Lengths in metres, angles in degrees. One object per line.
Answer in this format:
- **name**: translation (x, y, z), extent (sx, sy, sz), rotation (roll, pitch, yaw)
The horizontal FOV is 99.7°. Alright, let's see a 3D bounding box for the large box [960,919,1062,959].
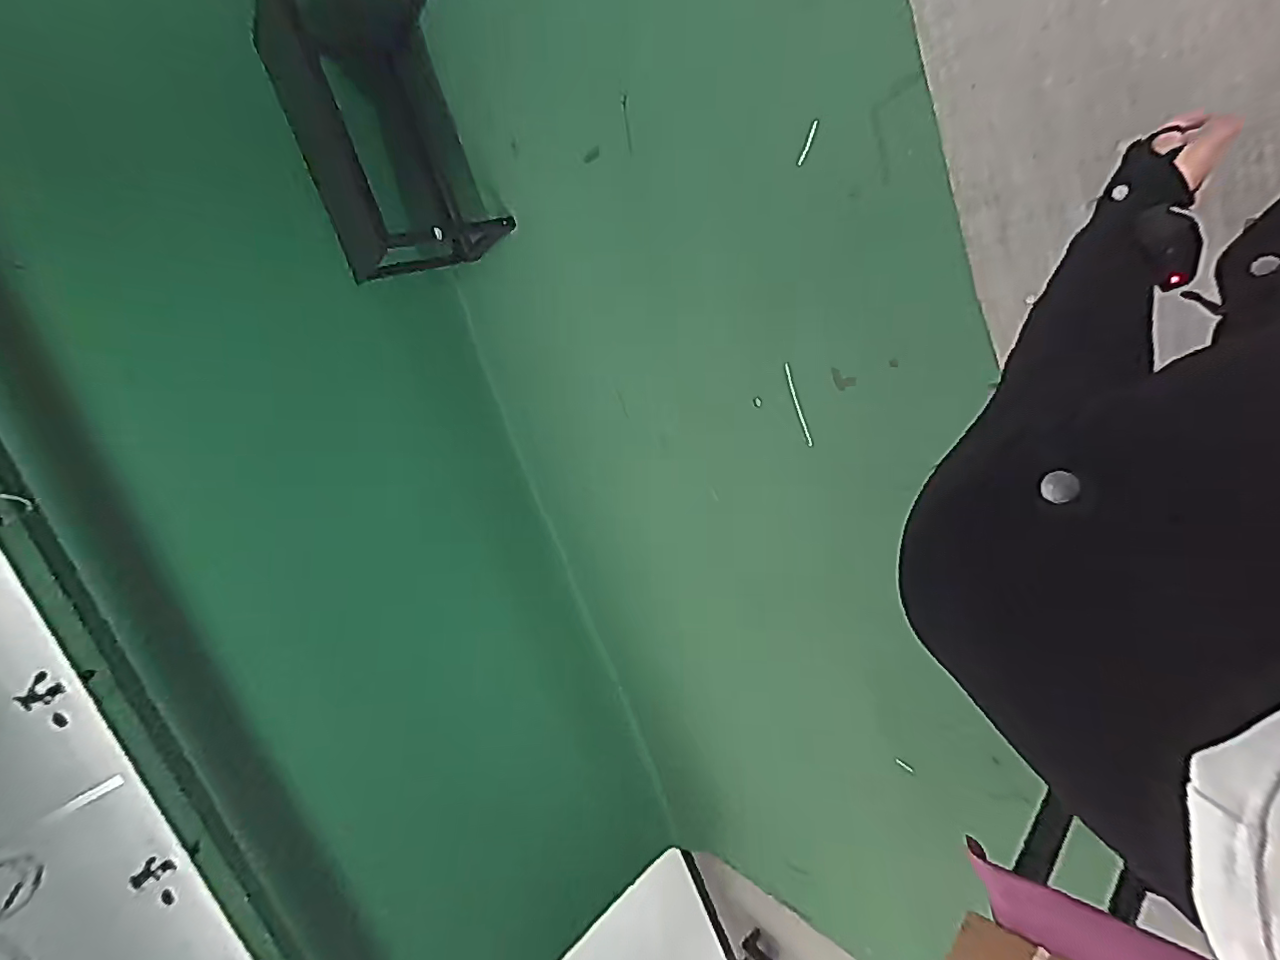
- **large box**: translation (0.844, 1.253, 1.098), extent (0.320, 0.320, 0.408), rotation (-7, 106, 53)
